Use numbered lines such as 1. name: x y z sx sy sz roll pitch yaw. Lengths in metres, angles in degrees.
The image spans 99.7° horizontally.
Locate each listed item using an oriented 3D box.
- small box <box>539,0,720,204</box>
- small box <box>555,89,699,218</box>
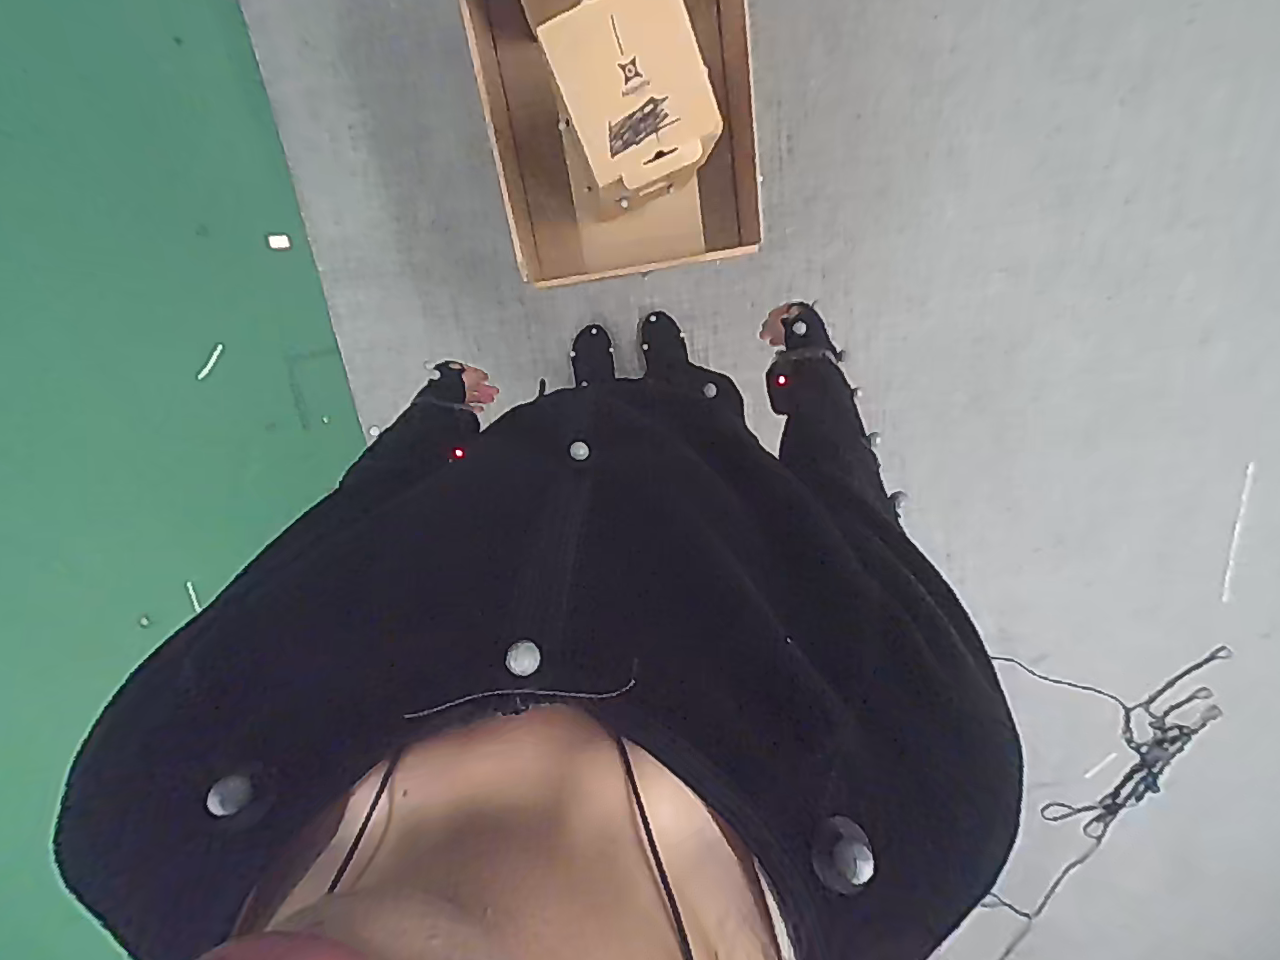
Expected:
1. small box: -0.010 -0.483 0.705 0.168 0.176 0.179 -22 106 5
2. small box: -0.017 -0.536 0.860 0.168 0.176 0.179 -22 107 5
